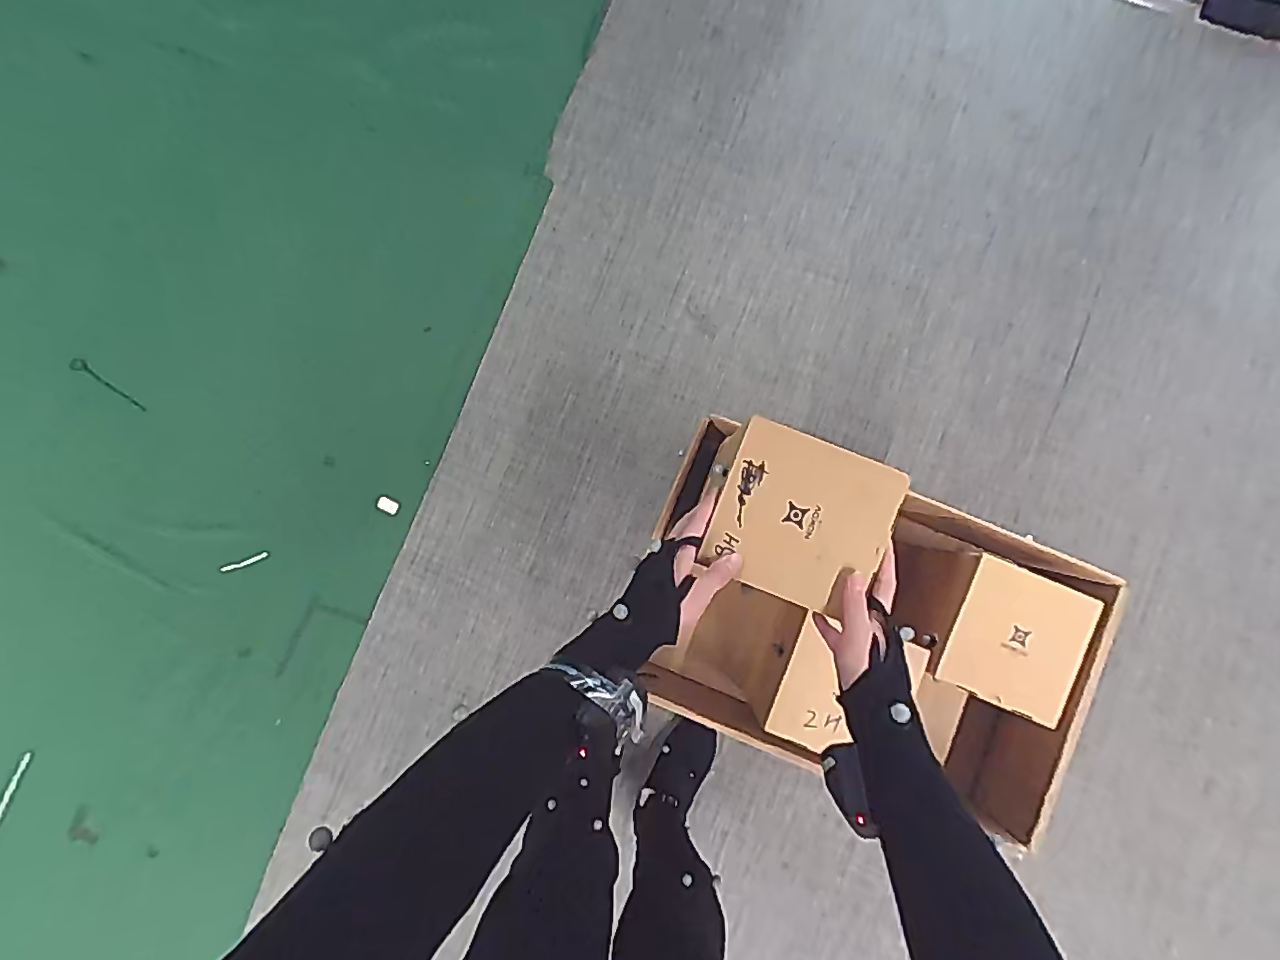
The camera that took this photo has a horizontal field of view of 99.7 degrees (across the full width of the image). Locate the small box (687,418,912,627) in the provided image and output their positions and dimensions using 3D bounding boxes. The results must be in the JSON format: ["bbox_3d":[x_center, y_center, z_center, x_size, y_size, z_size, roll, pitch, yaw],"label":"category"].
[{"bbox_3d":[0.167,0.045,0.625,0.179,0.176,0.168,22,87,2],"label":"small box"}]
